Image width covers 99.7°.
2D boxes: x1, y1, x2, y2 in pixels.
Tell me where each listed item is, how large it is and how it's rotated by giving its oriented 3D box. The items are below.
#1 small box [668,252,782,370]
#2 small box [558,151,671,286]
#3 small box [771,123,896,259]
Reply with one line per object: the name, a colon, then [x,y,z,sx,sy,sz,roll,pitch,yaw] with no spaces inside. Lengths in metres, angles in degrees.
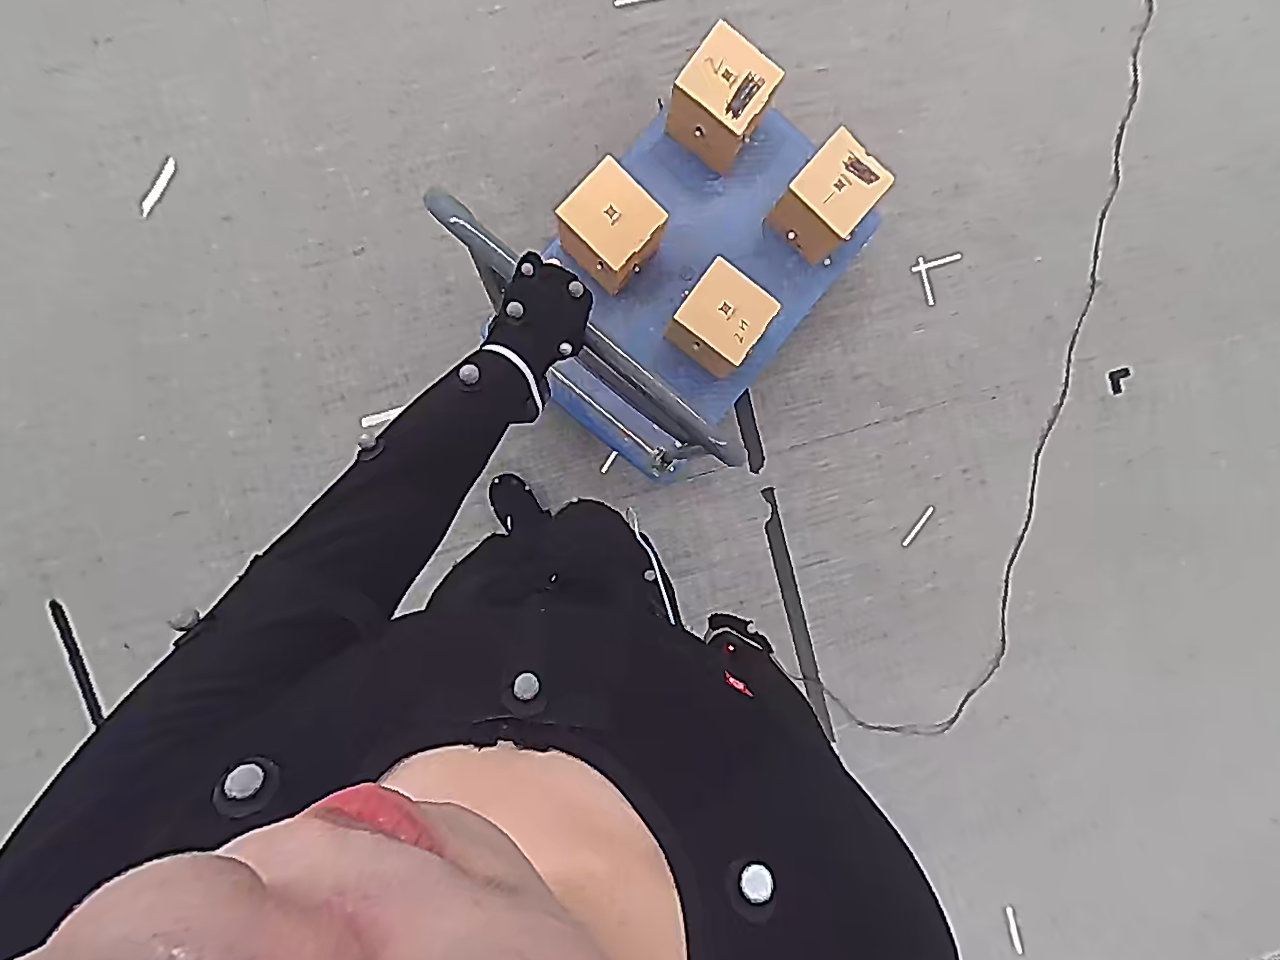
small box: [0.181,-0.367,1.217,0.179,0.176,0.168,37,90,-6]
small box: [-0.061,-0.559,1.187,0.179,0.176,0.168,43,88,-7]
small box: [0.426,-0.642,1.226,0.168,0.176,0.179,41,90,-6]
